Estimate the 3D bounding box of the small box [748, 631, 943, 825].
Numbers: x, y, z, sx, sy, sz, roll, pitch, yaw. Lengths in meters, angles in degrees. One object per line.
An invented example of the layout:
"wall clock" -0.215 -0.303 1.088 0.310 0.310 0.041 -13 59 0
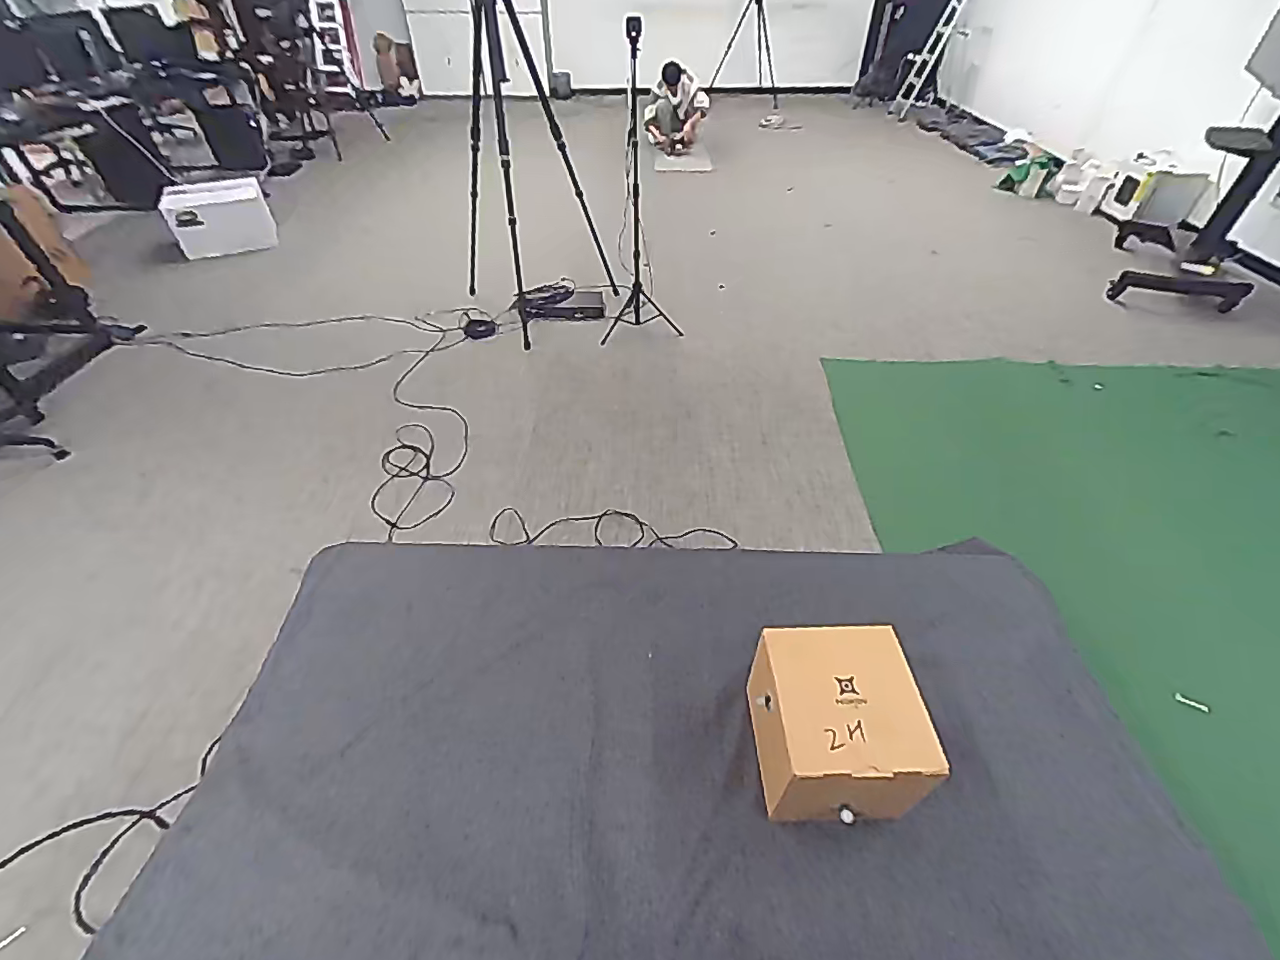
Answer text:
"small box" 0.238 0.311 0.683 0.168 0.176 0.179 -1 44 0
